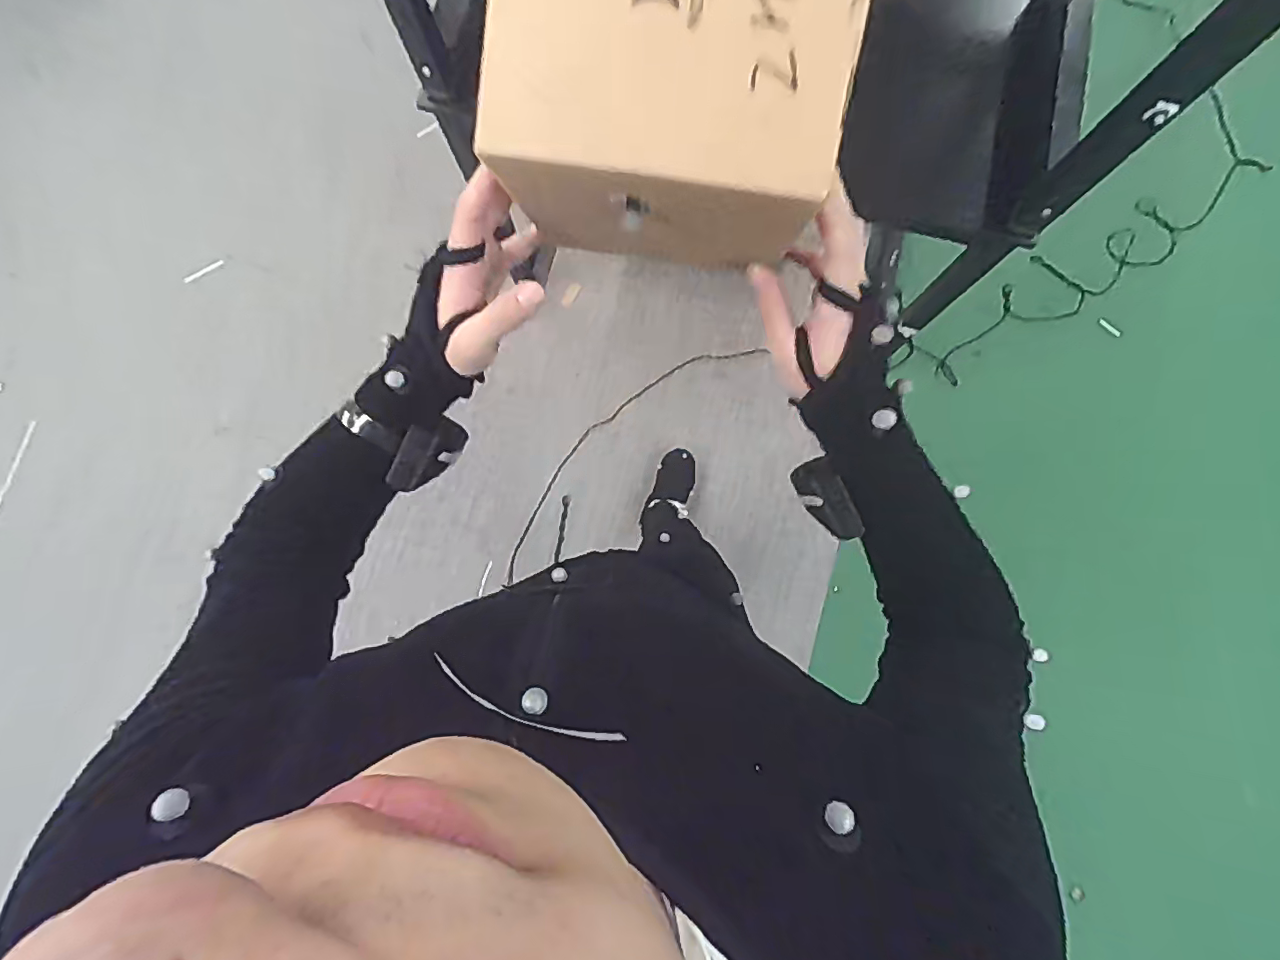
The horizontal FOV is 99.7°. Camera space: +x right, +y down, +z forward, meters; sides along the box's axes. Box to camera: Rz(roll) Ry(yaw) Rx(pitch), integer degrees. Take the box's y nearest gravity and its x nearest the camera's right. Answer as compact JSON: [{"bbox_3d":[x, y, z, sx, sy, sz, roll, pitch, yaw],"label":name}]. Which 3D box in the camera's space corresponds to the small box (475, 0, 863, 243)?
[{"bbox_3d":[0.024,-0.256,0.322,0.179,0.176,0.168,9,100,2],"label":"small box"}]
